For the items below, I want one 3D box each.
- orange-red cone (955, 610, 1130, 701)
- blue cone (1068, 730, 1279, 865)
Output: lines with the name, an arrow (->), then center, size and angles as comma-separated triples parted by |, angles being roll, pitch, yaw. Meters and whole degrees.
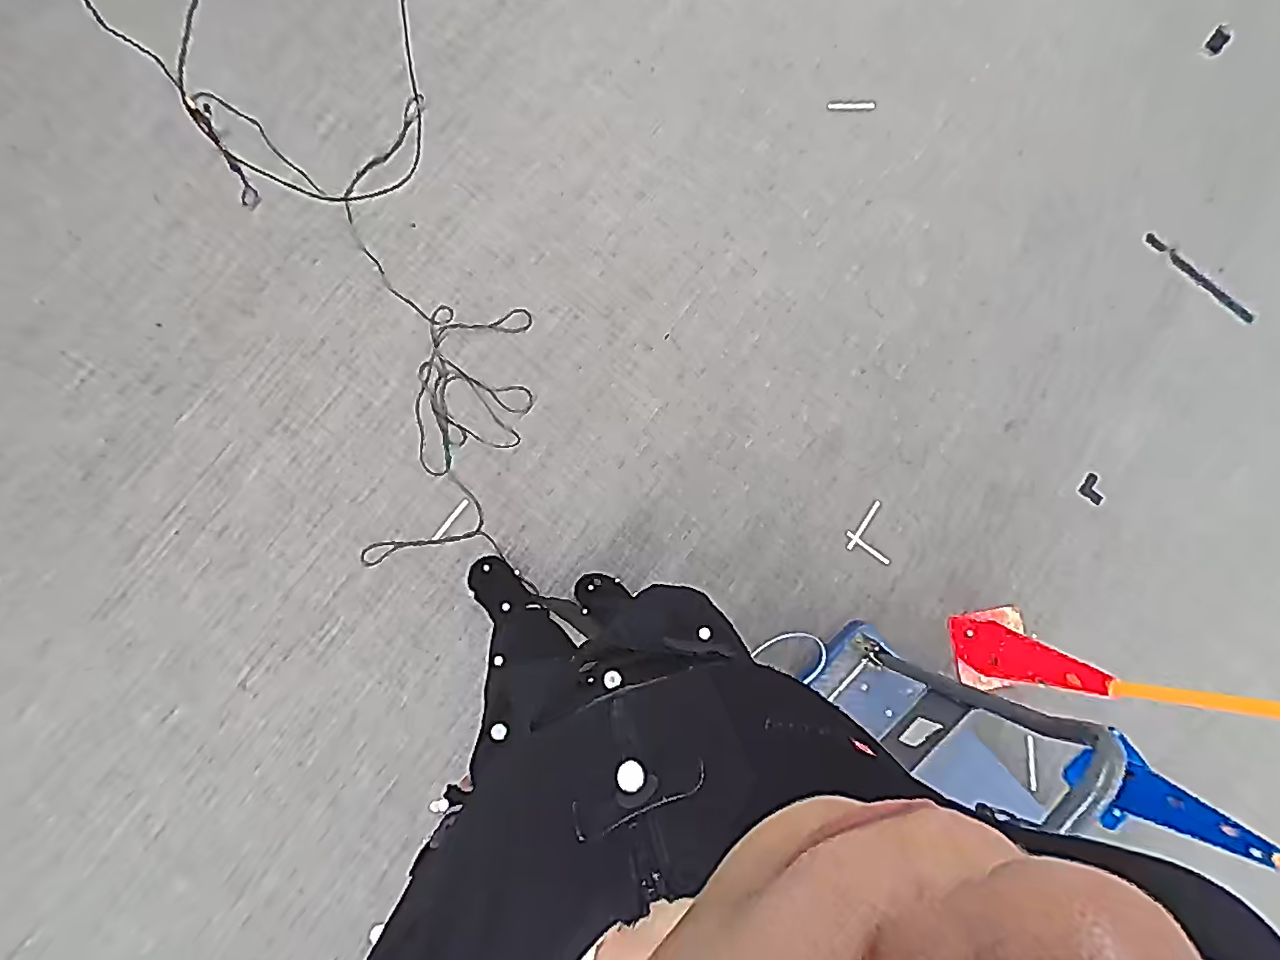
orange-red cone -> 0.933, 0.432, 1.233 | 0.198, 0.360, 0.199 | -7, 86, -4
blue cone -> 1.233, 0.759, 1.238 | 0.193, 0.380, 0.192 | -38, 87, -7
